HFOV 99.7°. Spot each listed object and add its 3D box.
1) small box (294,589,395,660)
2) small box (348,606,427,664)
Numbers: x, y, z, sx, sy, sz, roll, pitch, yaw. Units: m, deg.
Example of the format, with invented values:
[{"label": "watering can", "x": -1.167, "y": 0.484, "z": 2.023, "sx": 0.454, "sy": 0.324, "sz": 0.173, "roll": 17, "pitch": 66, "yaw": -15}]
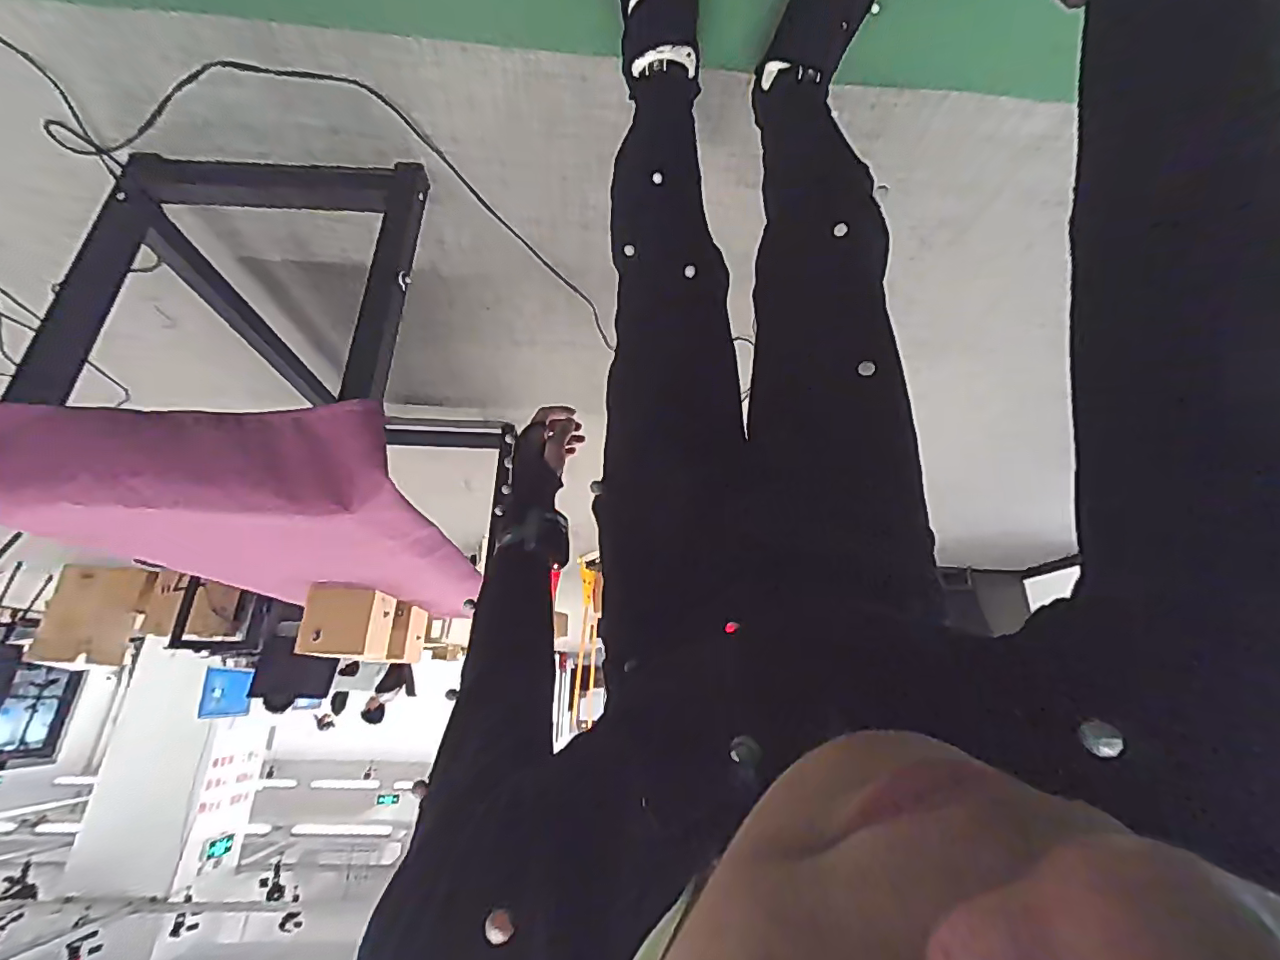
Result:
[{"label": "small box", "x": -0.791, "y": 0.393, "z": 1.467, "sx": 0.179, "sy": 0.176, "sz": 0.168, "roll": 3, "pitch": 158, "yaw": -4}, {"label": "small box", "x": -0.787, "y": 0.488, "z": 1.704, "sx": 0.168, "sy": 0.176, "sz": 0.179, "roll": 3, "pitch": 159, "yaw": -3}]
